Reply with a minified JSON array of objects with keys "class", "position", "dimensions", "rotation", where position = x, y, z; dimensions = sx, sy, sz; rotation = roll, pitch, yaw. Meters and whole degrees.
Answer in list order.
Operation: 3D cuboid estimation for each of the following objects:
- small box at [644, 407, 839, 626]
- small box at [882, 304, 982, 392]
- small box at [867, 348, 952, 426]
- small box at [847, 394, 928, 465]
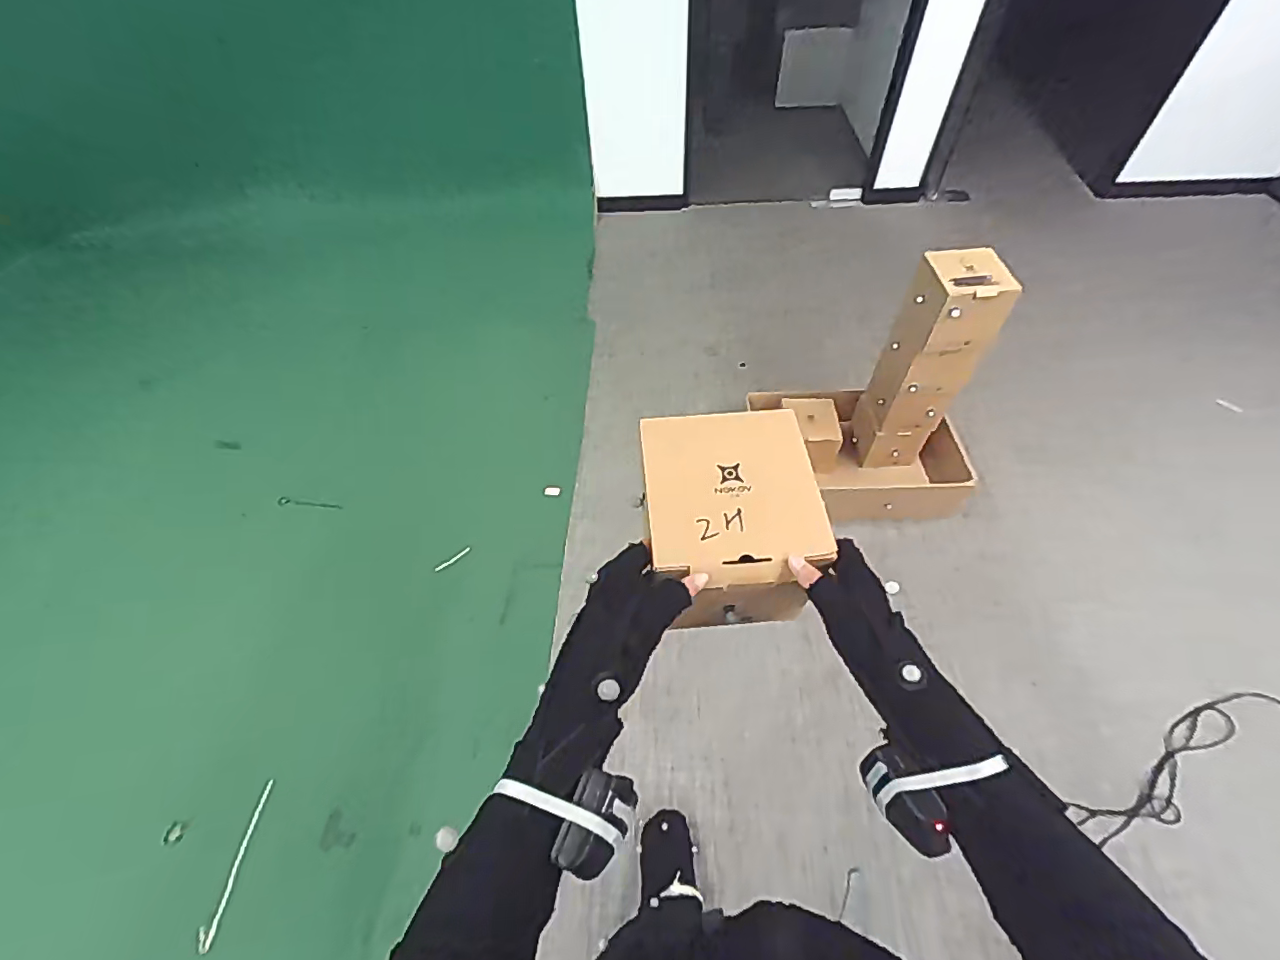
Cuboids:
[{"class":"small box","position":[0.091,0.043,0.588],"dimensions":[0.168,0.176,0.179],"rotation":[-4,56,-2]},{"class":"small box","position":[0.779,-0.351,1.463],"dimensions":[0.168,0.176,0.179],"rotation":[-1,53,2]},{"class":"small box","position":[0.788,-0.270,1.586],"dimensions":[0.168,0.176,0.179],"rotation":[-2,53,3]},{"class":"small box","position":[0.783,-0.161,1.731],"dimensions":[0.168,0.176,0.179],"rotation":[-6,53,1]}]
